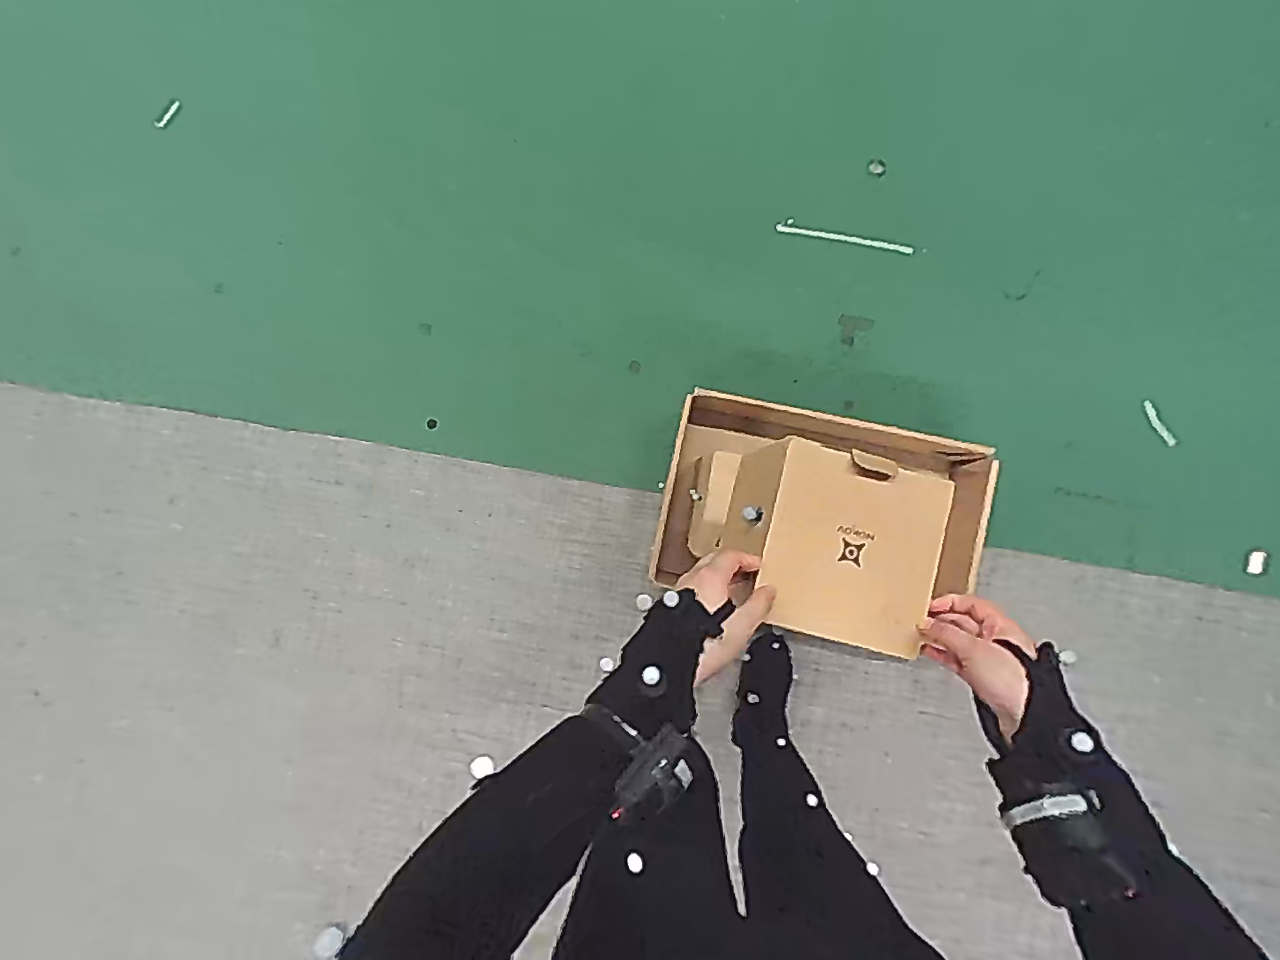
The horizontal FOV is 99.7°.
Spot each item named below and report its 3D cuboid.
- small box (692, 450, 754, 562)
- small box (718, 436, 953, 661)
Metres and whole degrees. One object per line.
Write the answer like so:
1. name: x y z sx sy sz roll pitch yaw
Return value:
1. small box: 0.187 0.055 0.927 0.168 0.176 0.179 11 88 0
2. small box: 0.192 0.070 0.582 0.168 0.176 0.179 16 83 -3
